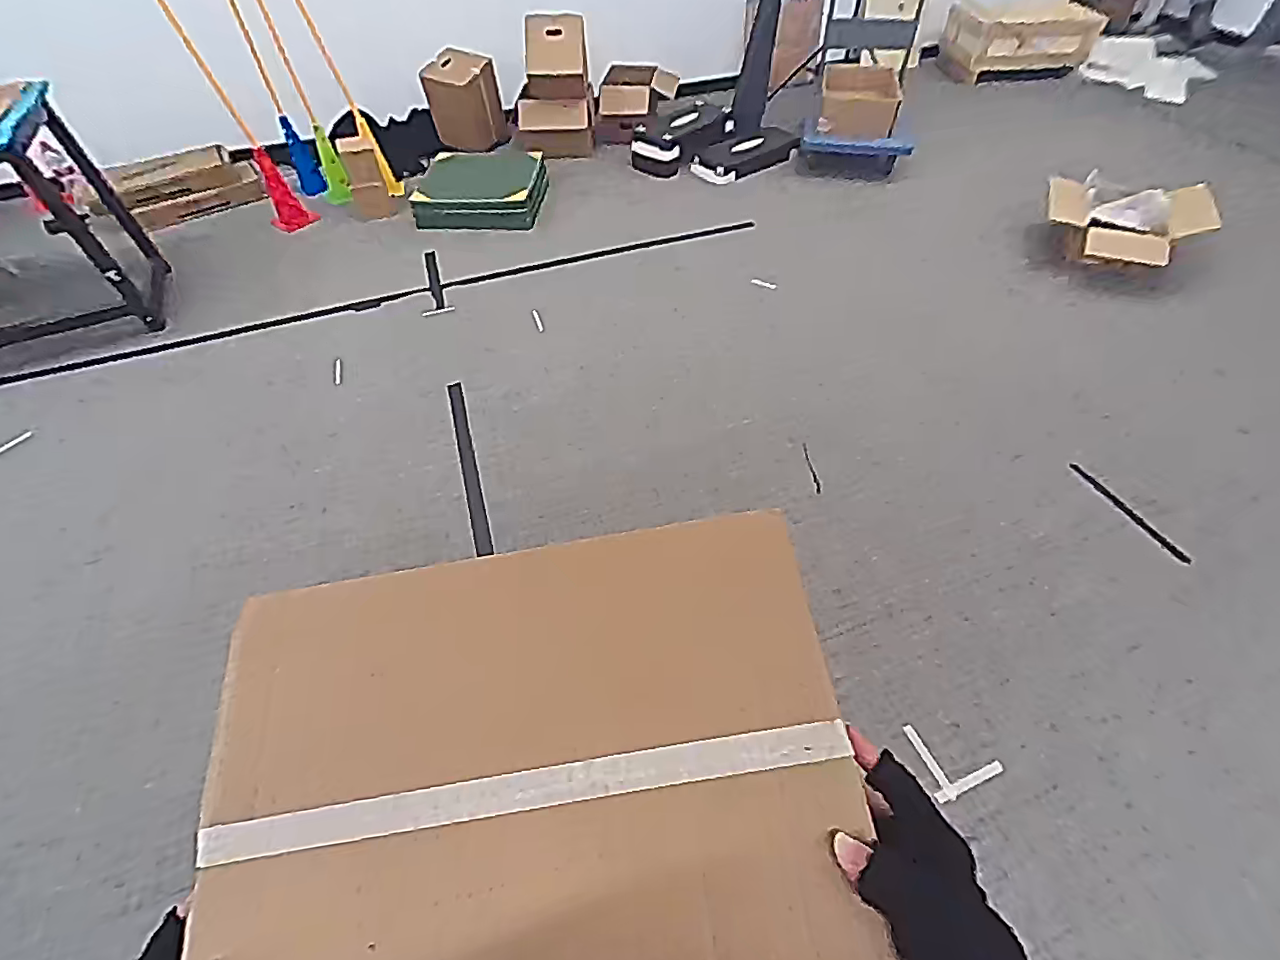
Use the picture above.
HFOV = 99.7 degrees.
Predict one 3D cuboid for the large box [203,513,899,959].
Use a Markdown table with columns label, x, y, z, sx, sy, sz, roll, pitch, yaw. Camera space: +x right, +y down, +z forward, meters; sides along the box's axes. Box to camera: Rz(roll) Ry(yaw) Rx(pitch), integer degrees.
| label | x | y | z | sx | sy | sz | roll | pitch | yaw |
| --- | --- | --- | --- | --- | --- | --- | --- | --- | --- |
| large box | -0.061 | 0.260 | 0.480 | 0.408 | 0.320 | 0.320 | -10 | 65 | 1 |
